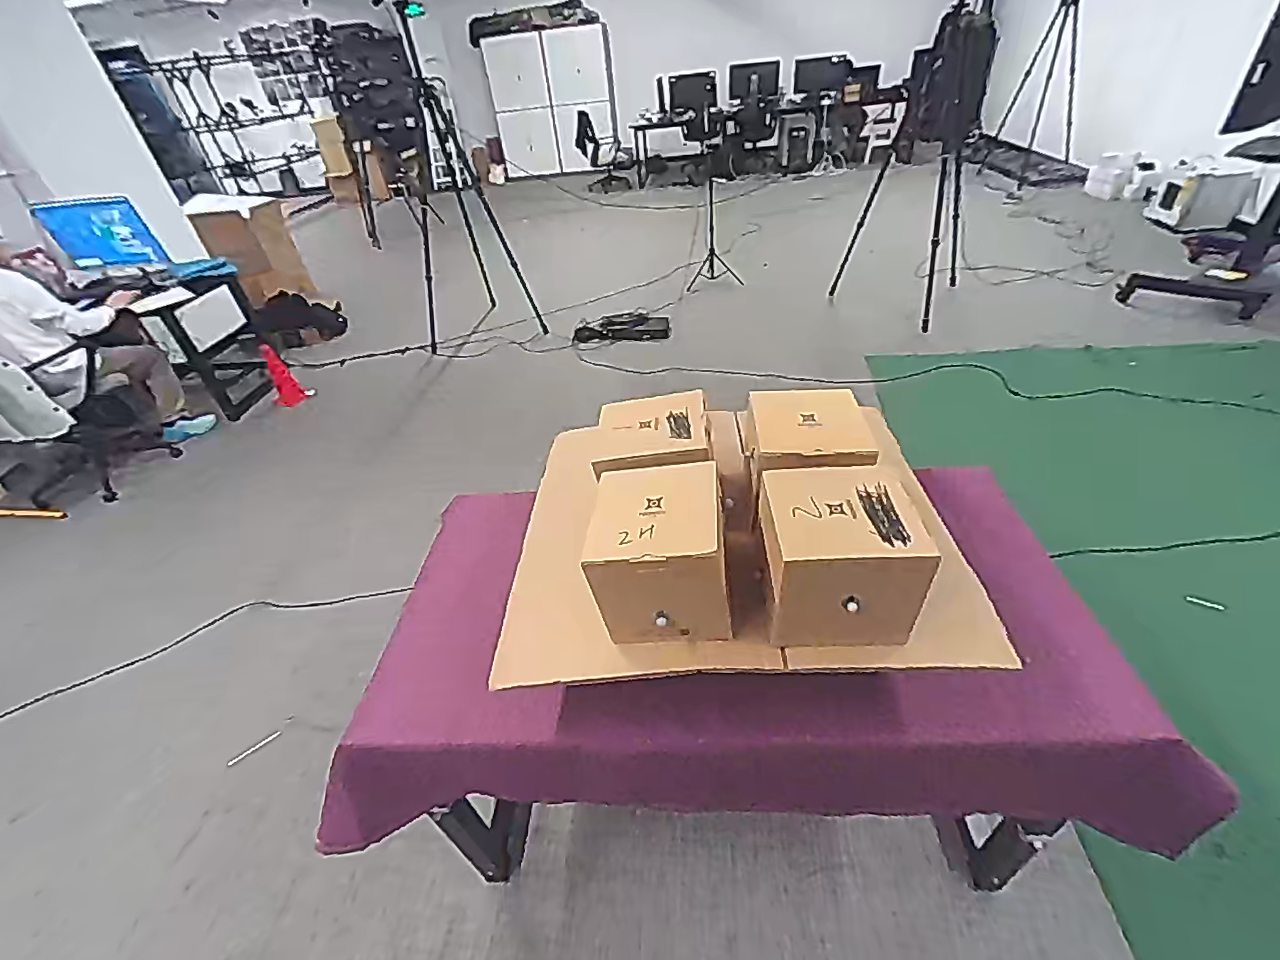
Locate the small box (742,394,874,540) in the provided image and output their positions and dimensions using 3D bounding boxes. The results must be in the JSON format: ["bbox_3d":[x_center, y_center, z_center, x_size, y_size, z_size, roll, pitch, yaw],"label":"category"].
[{"bbox_3d":[0.257,-0.024,0.876,0.168,0.176,0.179,-1,40,5],"label":"small box"}]
